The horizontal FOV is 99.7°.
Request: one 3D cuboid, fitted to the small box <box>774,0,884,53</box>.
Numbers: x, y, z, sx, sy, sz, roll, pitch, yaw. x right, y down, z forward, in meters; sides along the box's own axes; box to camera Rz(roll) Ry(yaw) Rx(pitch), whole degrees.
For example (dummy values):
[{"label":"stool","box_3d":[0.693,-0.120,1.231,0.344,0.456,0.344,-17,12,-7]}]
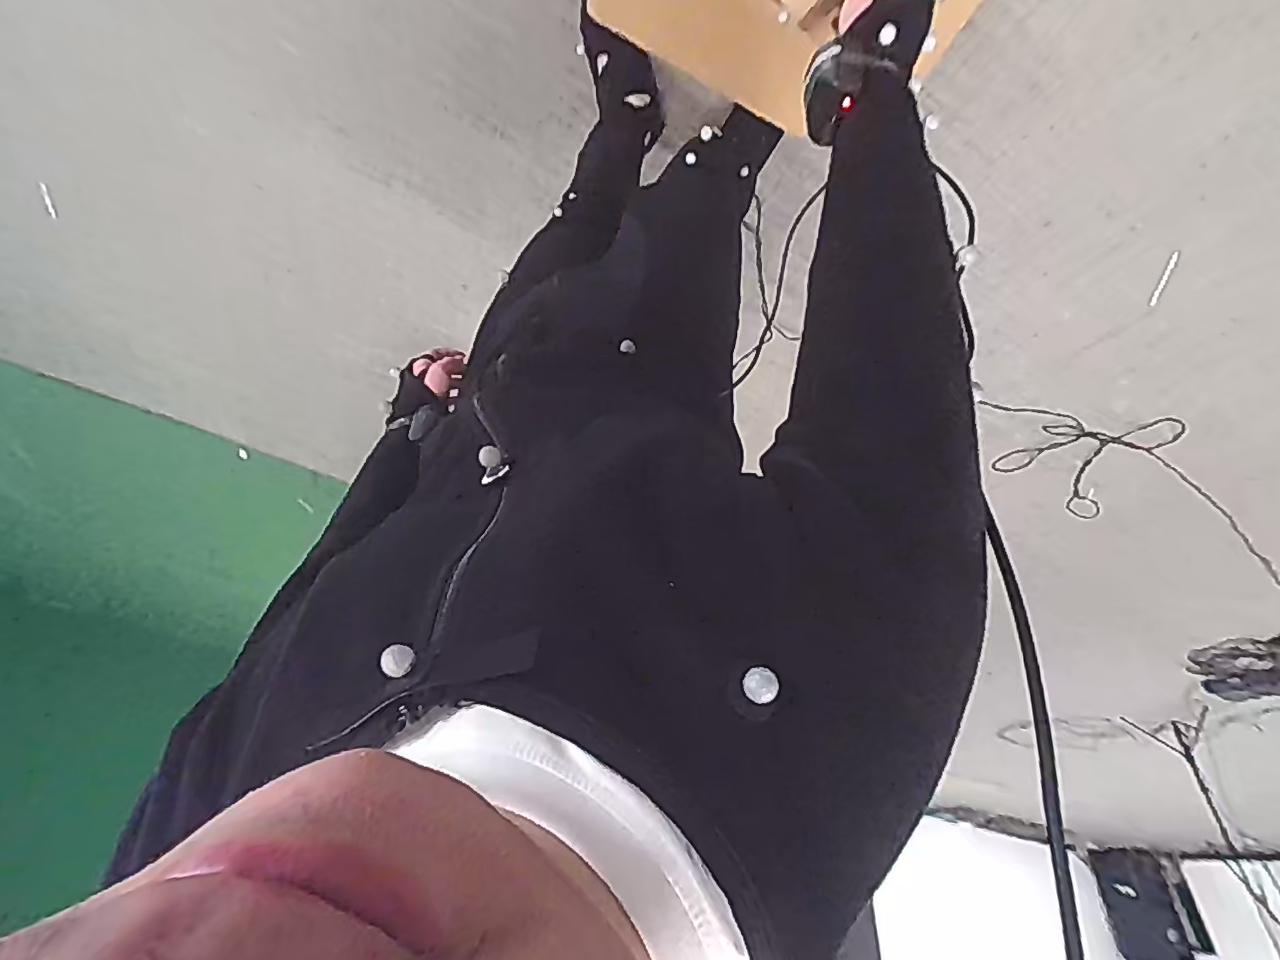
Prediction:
[{"label":"small box","box_3d":[0.194,-0.575,0.539,0.168,0.176,0.179,-34,93,36]}]
